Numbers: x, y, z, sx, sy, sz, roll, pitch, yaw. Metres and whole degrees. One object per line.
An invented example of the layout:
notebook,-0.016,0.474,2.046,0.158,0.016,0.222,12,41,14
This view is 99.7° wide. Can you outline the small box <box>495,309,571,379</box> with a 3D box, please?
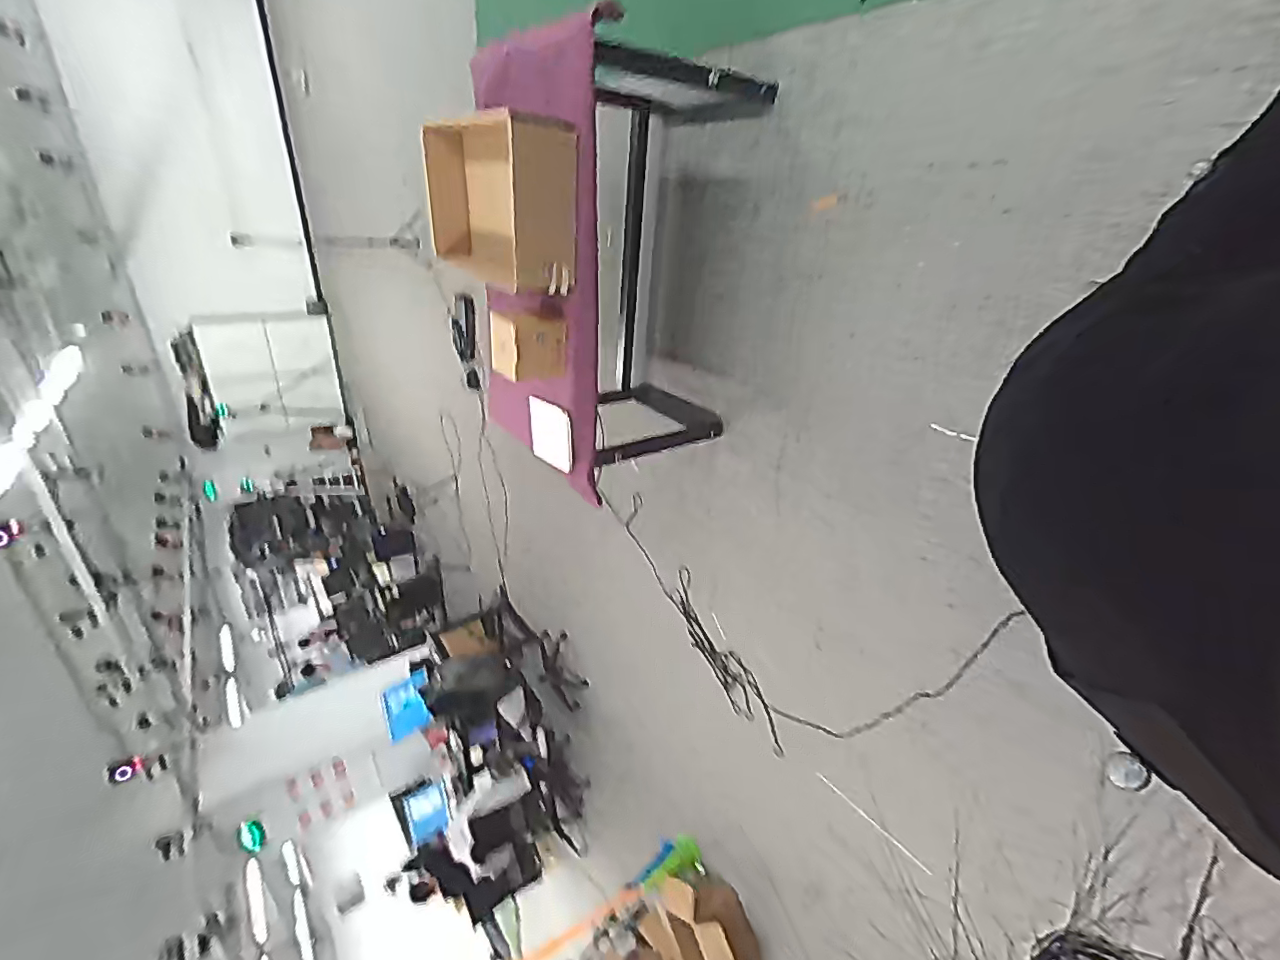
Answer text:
small box,-0.319,-0.414,1.622,0.179,0.176,0.168,37,131,44
